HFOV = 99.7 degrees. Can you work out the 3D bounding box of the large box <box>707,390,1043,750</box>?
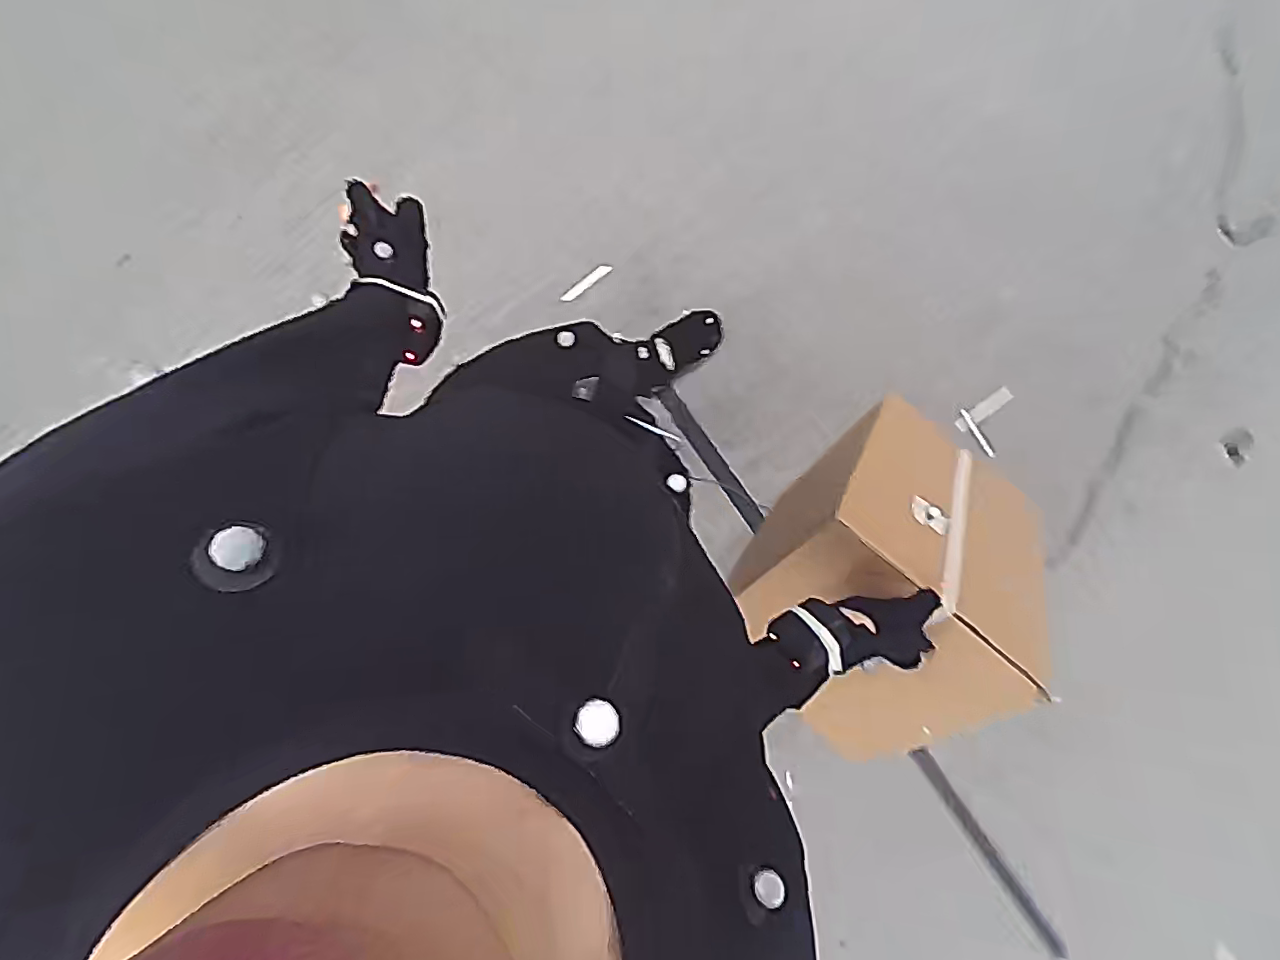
[{"bbox_3d":[0.371,0.131,0.858,0.320,0.408,0.320,39,135,6],"label":"large box"}]
